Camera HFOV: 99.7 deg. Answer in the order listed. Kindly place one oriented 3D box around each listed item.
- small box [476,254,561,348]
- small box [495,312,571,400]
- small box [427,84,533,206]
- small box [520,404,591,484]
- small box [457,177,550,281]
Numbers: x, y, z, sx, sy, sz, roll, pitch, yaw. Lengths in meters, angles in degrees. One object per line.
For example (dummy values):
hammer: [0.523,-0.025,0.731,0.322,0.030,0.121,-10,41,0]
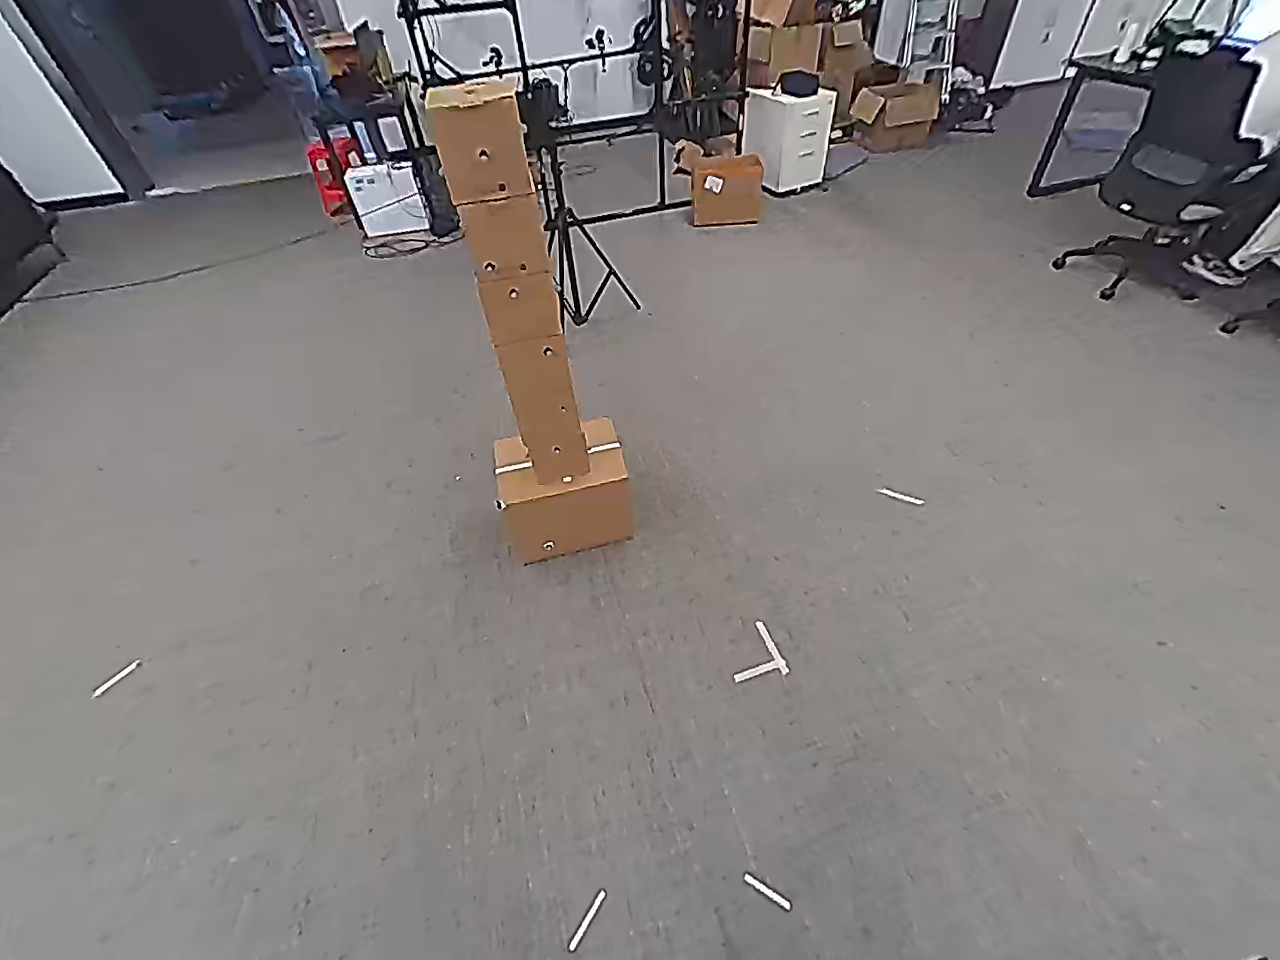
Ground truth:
small box: [-0.297,-0.450,1.338,0.179,0.176,0.168,-12,47,-6]
small box: [-0.287,-0.338,1.454,0.179,0.176,0.168,-12,46,-6]
small box: [-0.322,-0.675,1.100,0.168,0.176,0.179,-13,48,-7]
small box: [-0.263,-0.109,1.689,0.179,0.176,0.168,-14,48,-10]
small box: [-0.305,-0.565,1.221,0.168,0.176,0.179,-12,46,-6]
